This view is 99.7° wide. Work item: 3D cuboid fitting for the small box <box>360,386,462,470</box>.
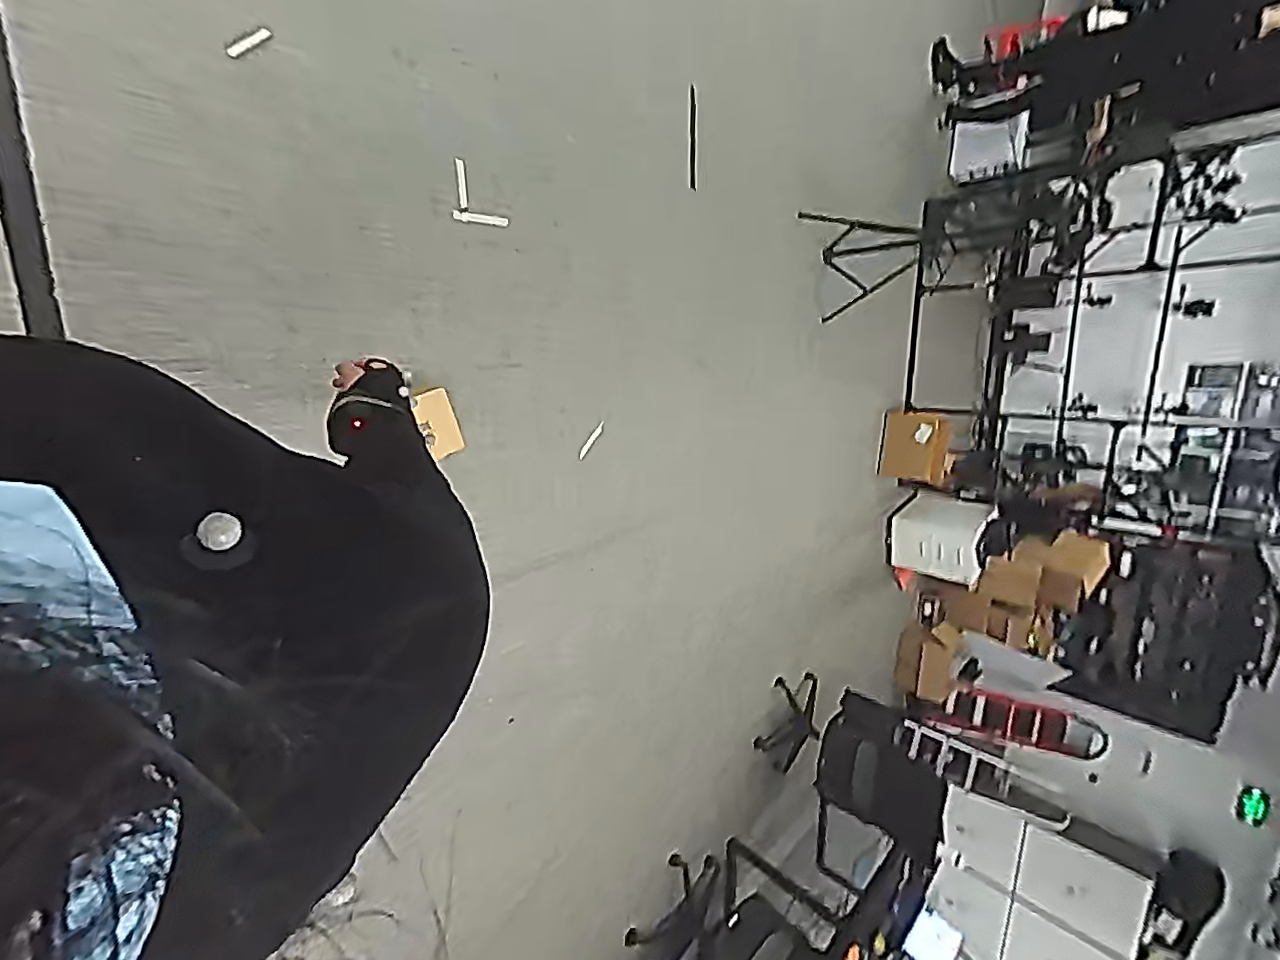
[{"bbox_3d":[-0.608,-0.143,1.430,0.168,0.176,0.179,-31,120,-37],"label":"small box"}]
